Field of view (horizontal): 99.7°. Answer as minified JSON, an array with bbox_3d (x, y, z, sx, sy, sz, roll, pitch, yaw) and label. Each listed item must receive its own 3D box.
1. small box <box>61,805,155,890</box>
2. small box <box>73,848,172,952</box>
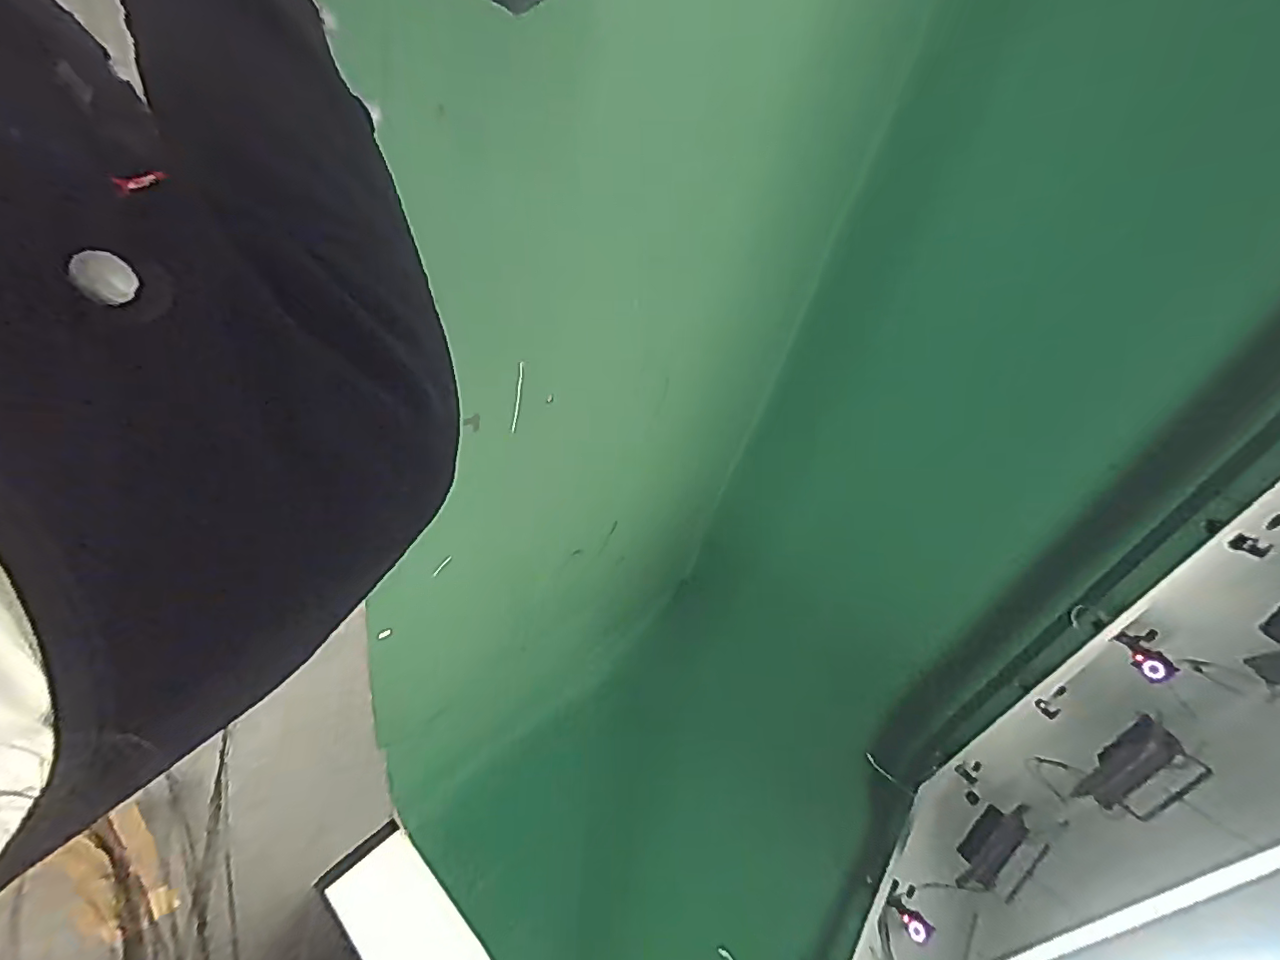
[{"bbox_3d":[-1.721,1.206,1.747,0.179,0.176,0.168,-24,142,-47],"label":"small box"},{"bbox_3d":[-1.603,1.296,1.678,0.168,0.176,0.179,-28,143,-47],"label":"small box"}]
